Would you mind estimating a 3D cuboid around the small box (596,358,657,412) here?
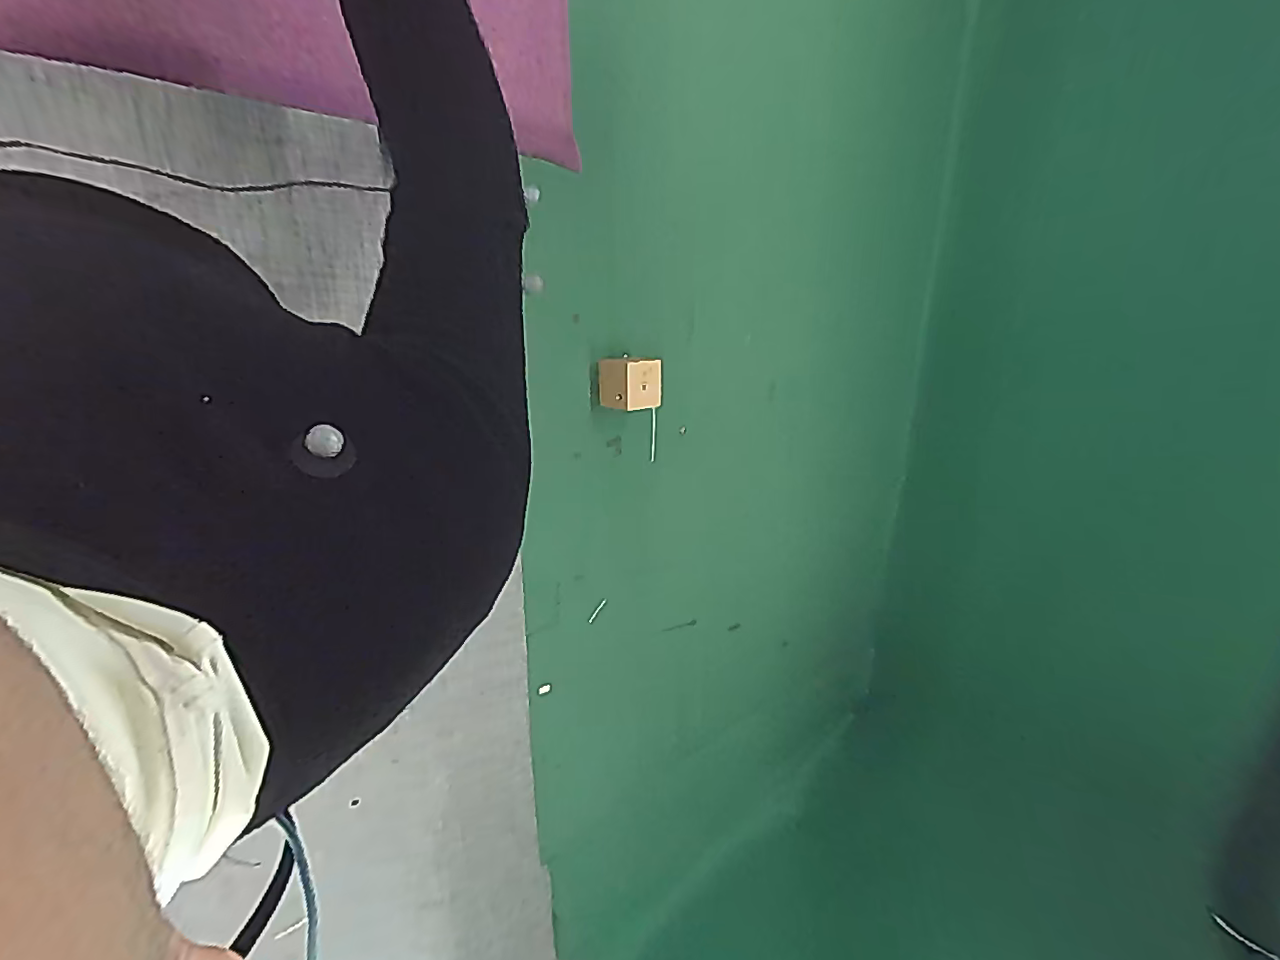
[{"bbox_3d":[-0.054,-0.358,2.018,0.168,0.176,0.179,-14,112,-39],"label":"small box"}]
